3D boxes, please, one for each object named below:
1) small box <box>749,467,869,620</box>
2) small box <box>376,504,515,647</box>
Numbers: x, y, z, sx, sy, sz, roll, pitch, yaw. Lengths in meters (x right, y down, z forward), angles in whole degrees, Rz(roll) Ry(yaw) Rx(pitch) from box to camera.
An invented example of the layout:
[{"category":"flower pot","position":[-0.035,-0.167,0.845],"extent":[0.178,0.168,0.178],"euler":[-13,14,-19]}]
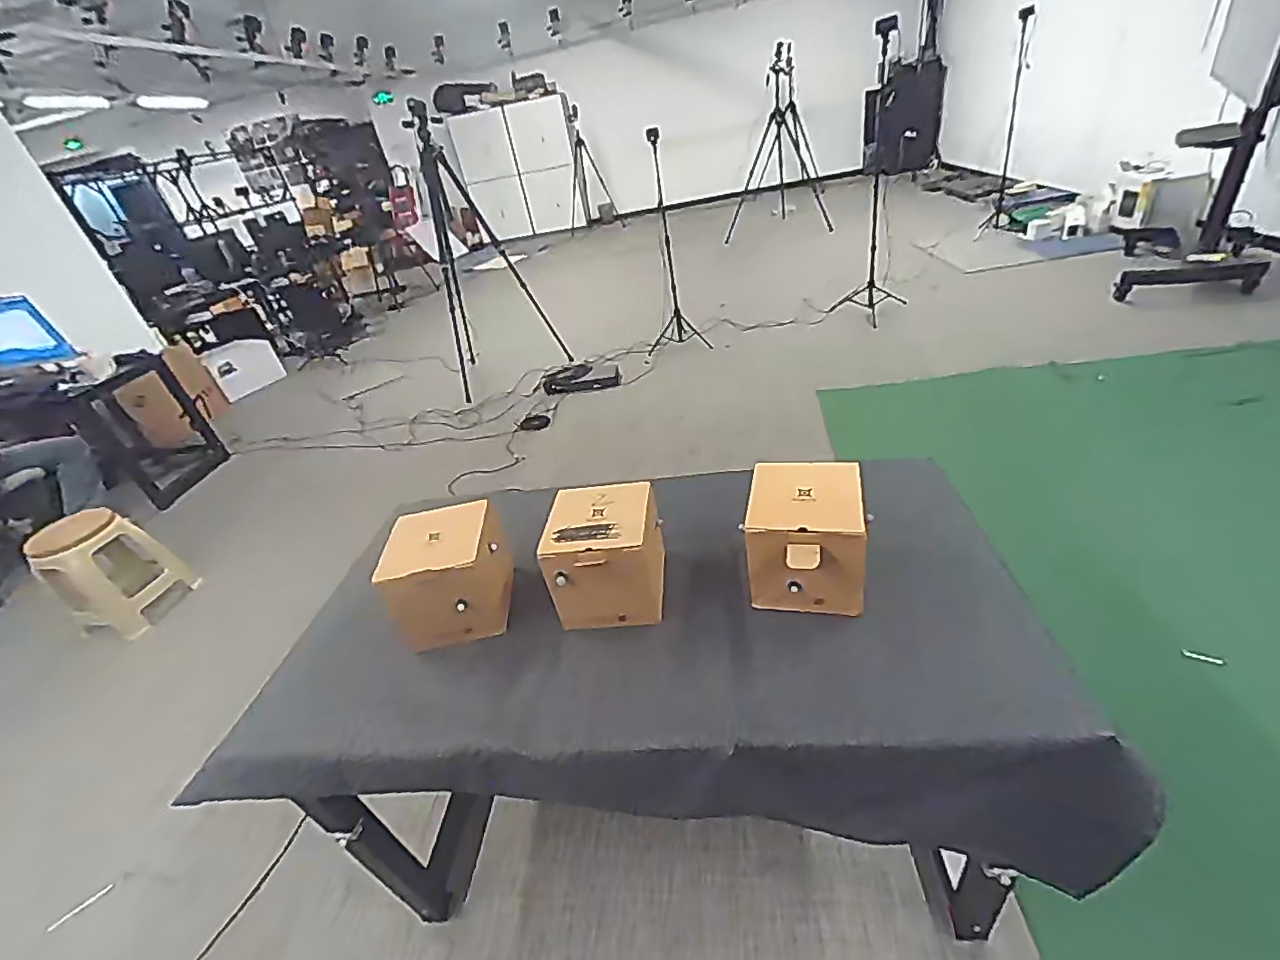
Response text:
[{"category":"small box","position":[0.269,0.097,0.868],"extent":[0.168,0.176,0.179],"euler":[1,36,18]},{"category":"small box","position":[-0.324,0.171,0.945],"extent":[0.168,0.176,0.179],"euler":[-11,32,-1]}]
